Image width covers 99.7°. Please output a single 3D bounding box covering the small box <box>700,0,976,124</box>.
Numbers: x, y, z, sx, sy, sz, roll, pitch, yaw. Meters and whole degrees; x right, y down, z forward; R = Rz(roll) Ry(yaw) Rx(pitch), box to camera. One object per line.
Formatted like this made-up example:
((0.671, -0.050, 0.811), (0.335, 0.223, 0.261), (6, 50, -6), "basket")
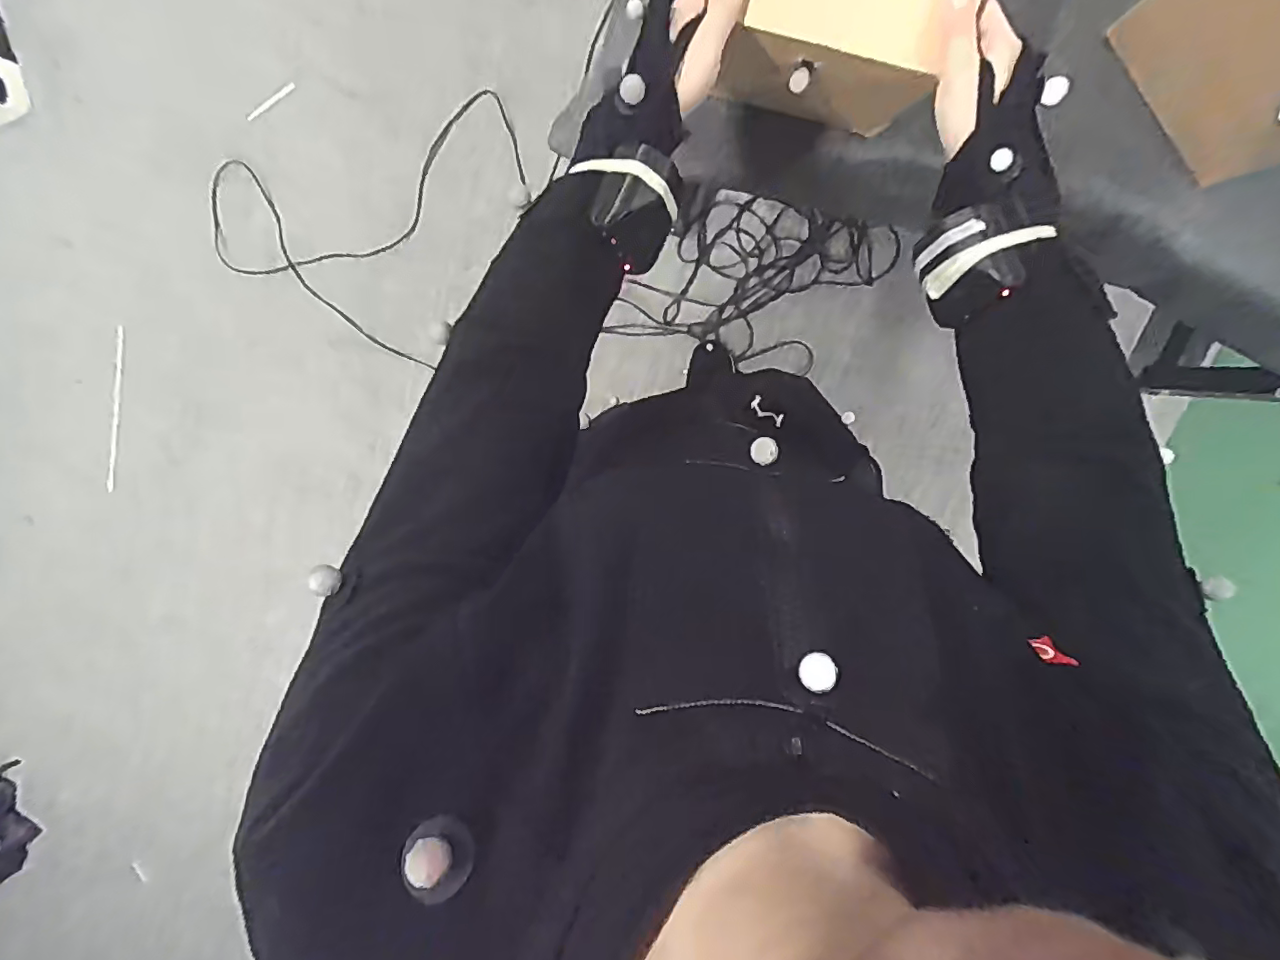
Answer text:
((0.151, -0.395, 0.408), (0.179, 0.176, 0.168), (15, 111, 2), "small box")
